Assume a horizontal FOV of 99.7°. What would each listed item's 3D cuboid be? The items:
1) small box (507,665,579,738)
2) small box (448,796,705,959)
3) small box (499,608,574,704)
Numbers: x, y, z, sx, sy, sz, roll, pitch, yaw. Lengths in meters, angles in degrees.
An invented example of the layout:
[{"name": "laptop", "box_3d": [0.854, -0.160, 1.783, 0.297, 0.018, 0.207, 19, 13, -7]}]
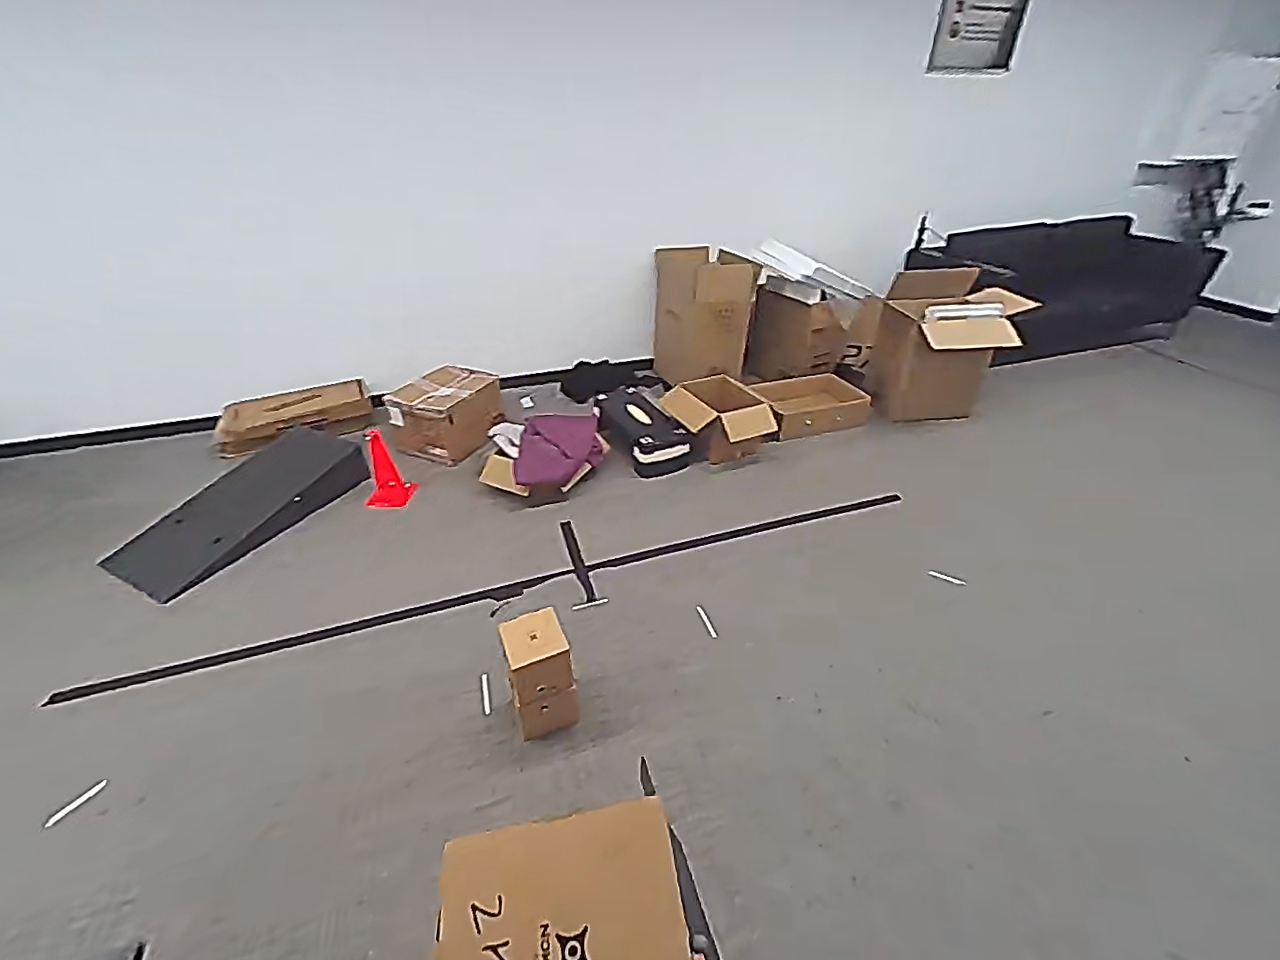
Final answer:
[{"name": "small box", "box_3d": [-0.296, 0.652, 1.654, 0.179, 0.176, 0.168, -13, 36, -18]}, {"name": "small box", "box_3d": [-0.040, 0.378, 0.428, 0.179, 0.176, 0.168, -10, 45, -3]}, {"name": "small box", "box_3d": [-0.301, 0.511, 1.572, 0.168, 0.176, 0.179, -16, 38, -20]}]
